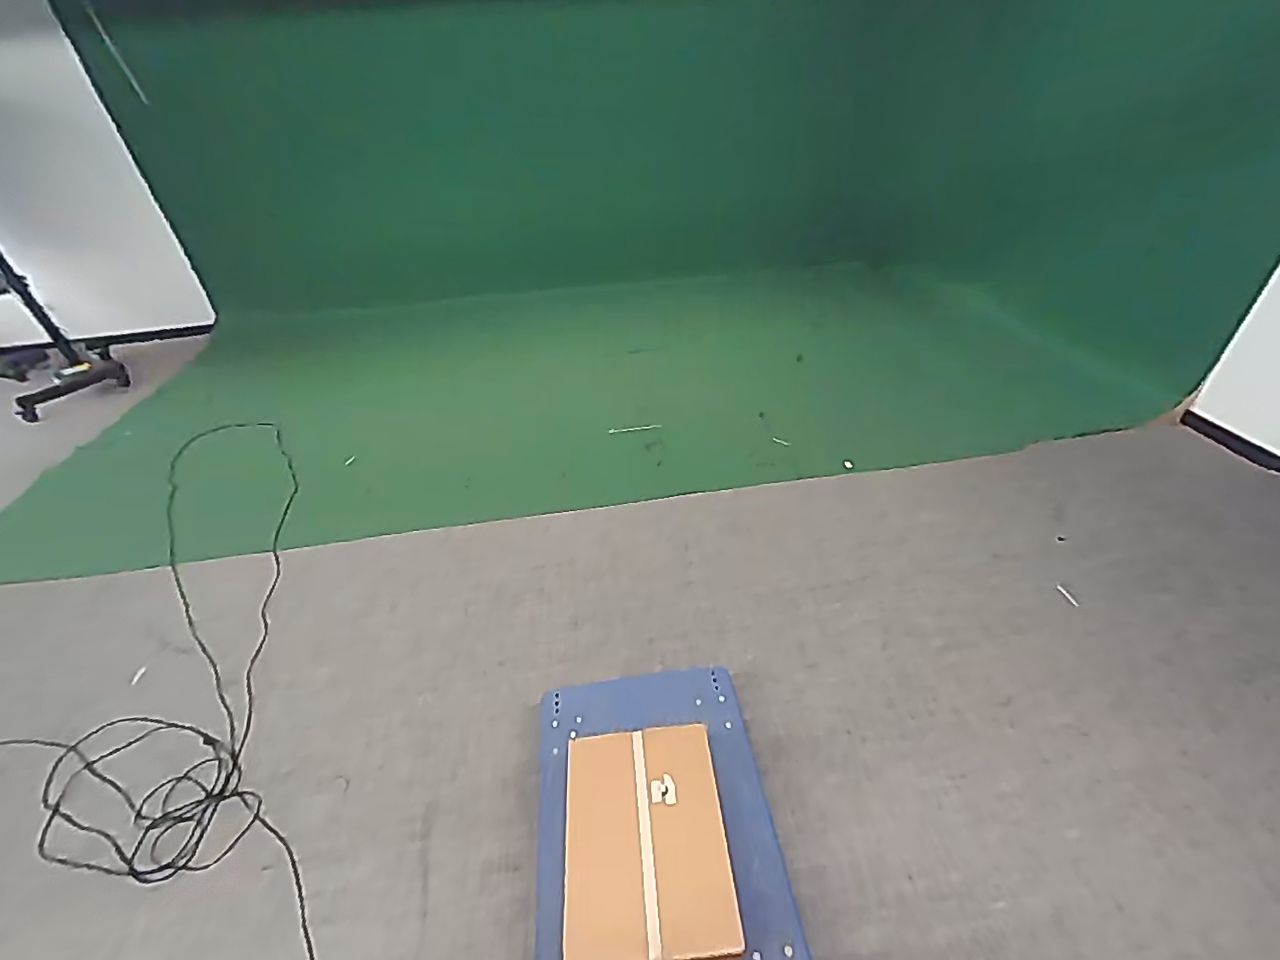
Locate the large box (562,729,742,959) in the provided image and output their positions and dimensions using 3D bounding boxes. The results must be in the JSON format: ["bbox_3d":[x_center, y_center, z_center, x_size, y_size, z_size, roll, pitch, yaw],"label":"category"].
[{"bbox_3d":[0.014,0.819,1.155,0.320,0.320,0.408,-5,37,-2],"label":"large box"}]
